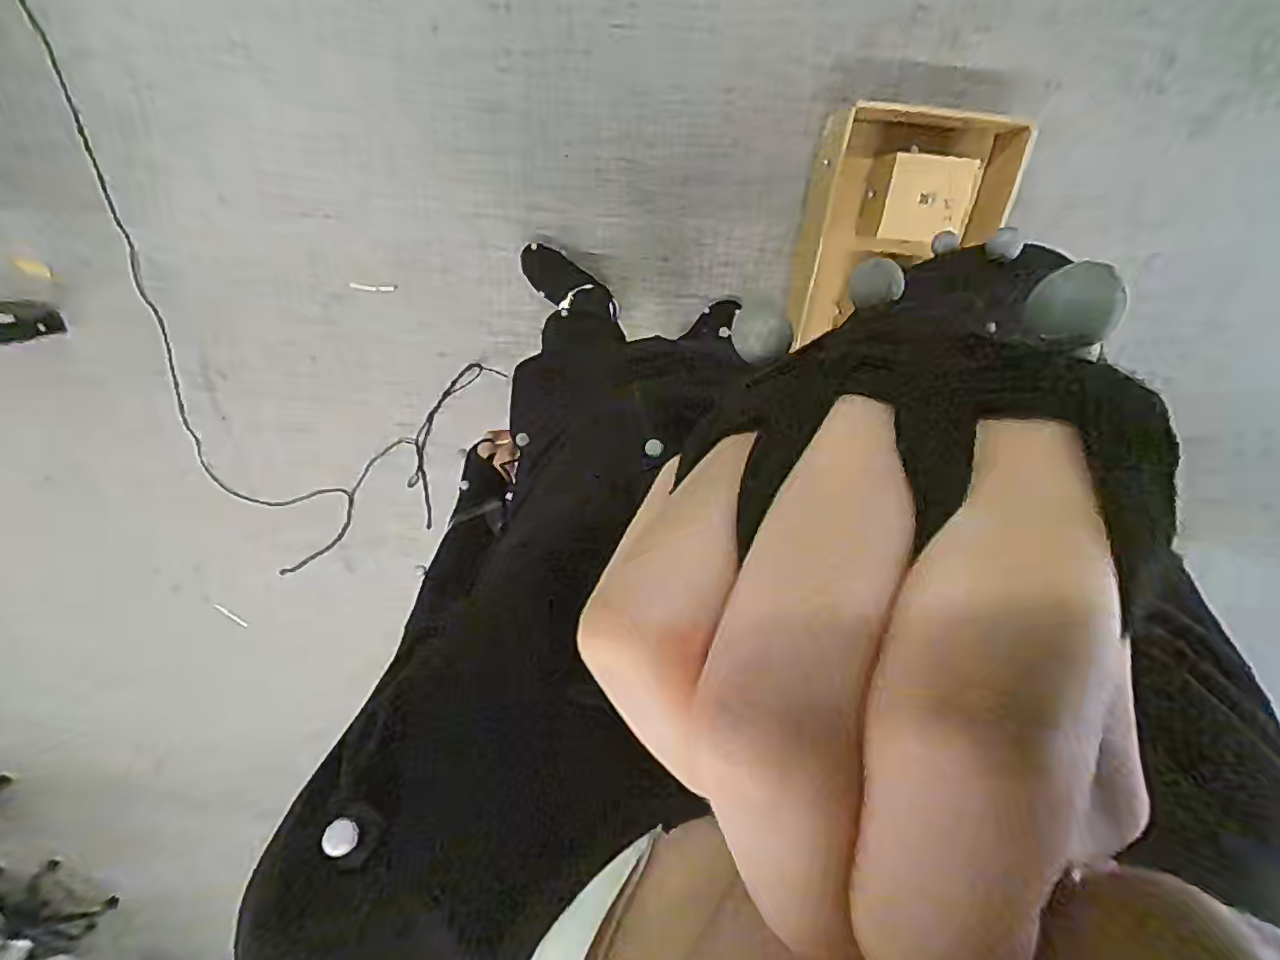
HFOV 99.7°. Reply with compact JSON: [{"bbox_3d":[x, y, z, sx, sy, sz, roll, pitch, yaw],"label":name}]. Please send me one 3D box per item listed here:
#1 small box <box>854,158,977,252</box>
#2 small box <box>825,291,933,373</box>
[{"bbox_3d":[0.613,-0.622,1.234,0.179,0.176,0.168,6,117,-1],"label":"small box"},{"bbox_3d":[0.587,-0.374,1.351,0.179,0.176,0.168,6,114,0],"label":"small box"}]
